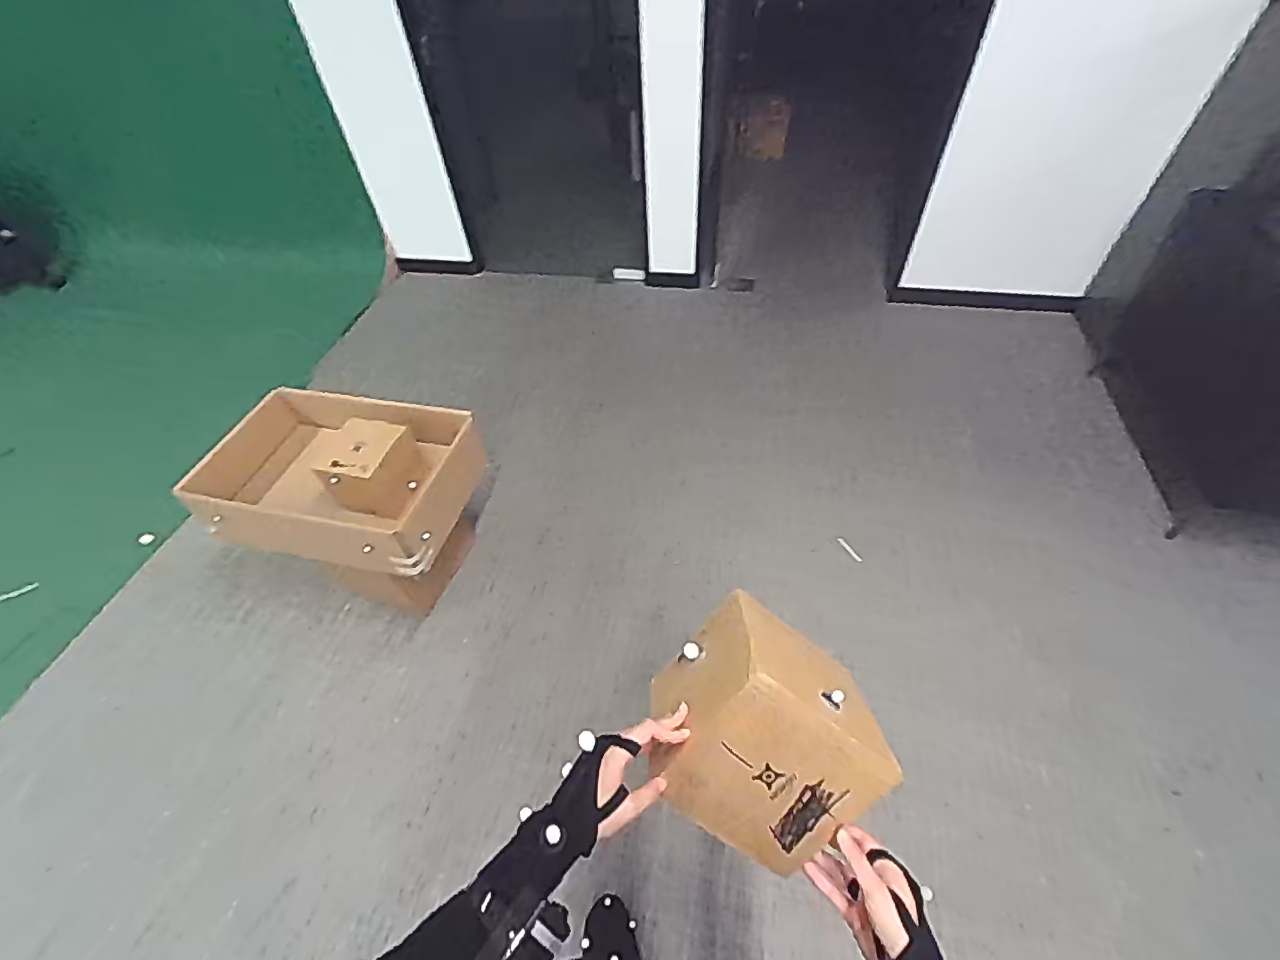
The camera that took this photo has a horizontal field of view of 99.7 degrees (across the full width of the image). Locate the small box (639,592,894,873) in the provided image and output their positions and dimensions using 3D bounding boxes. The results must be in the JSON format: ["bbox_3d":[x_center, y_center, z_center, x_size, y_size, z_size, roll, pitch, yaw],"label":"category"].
[{"bbox_3d":[0.119,0.250,0.573,0.179,0.168,0.176,37,12,-6],"label":"small box"}]

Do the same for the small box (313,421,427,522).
[{"bbox_3d":[-0.664,-0.022,1.360,0.168,0.176,0.179,9,50,13],"label":"small box"}]
